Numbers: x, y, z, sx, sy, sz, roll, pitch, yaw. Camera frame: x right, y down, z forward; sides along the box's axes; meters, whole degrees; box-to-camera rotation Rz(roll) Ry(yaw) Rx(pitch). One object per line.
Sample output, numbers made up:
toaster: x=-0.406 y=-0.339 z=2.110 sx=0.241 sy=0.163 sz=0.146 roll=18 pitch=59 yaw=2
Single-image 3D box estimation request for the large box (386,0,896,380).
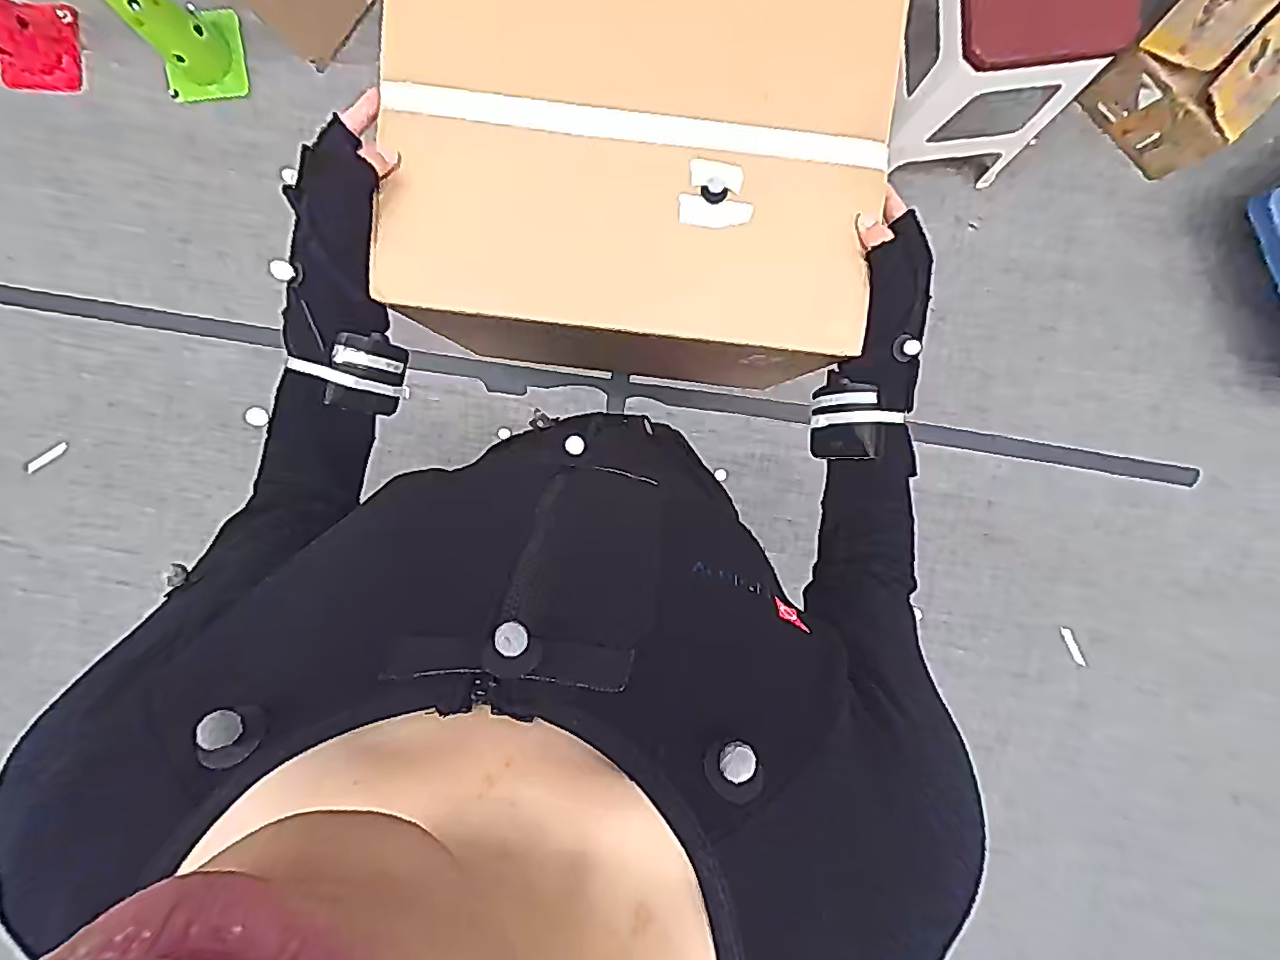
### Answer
large box: x=-0.005 y=-0.297 z=0.590 sx=0.408 sy=0.320 sz=0.320 roll=6 pitch=94 yaw=-2
